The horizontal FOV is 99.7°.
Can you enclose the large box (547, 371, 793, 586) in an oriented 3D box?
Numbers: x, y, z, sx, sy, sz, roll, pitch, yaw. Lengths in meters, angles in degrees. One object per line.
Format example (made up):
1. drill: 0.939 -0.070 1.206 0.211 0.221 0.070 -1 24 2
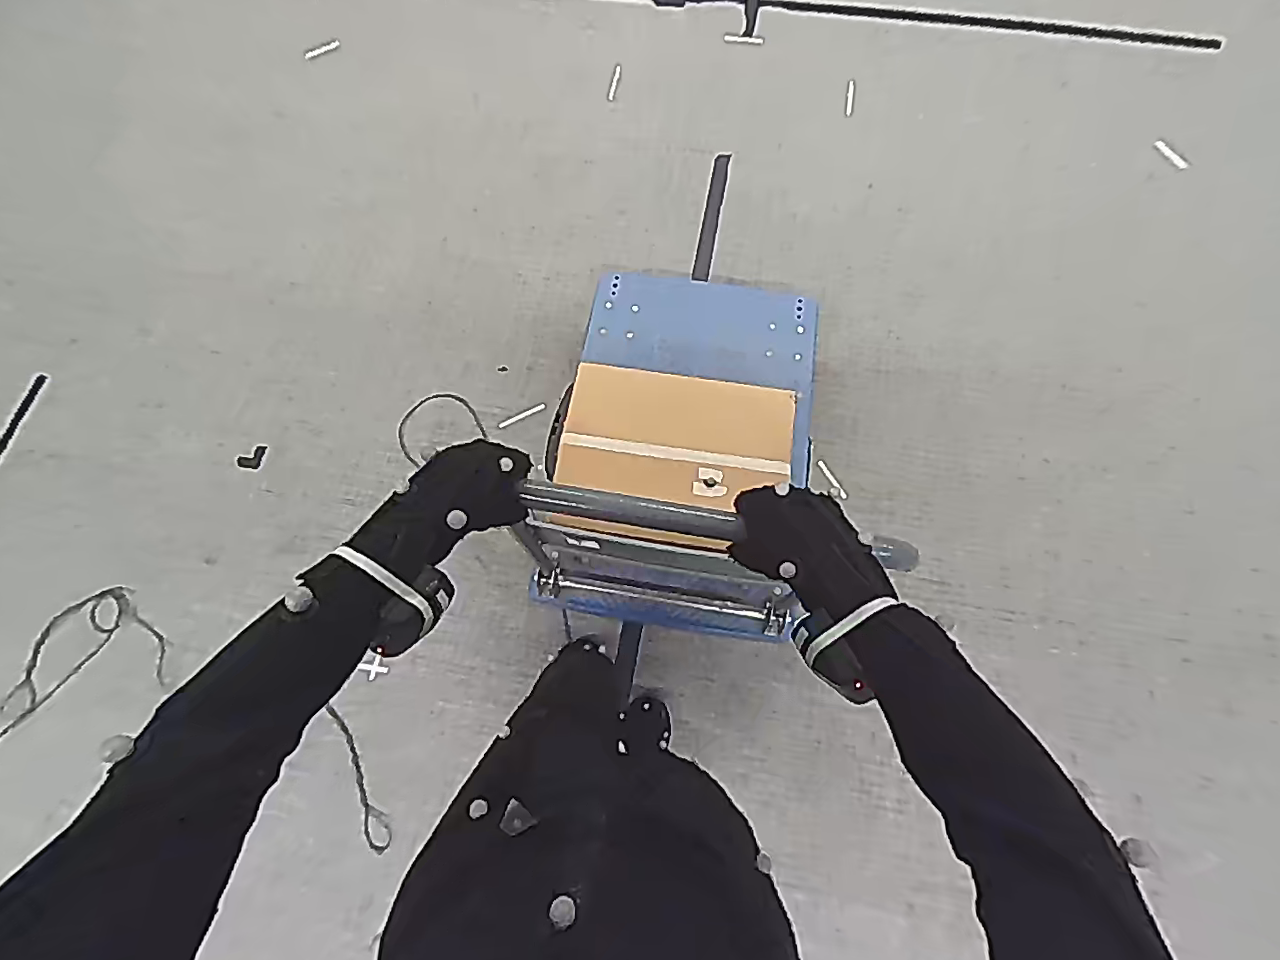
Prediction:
1. large box: 0.059 0.014 1.081 0.408 0.320 0.320 9 72 3
